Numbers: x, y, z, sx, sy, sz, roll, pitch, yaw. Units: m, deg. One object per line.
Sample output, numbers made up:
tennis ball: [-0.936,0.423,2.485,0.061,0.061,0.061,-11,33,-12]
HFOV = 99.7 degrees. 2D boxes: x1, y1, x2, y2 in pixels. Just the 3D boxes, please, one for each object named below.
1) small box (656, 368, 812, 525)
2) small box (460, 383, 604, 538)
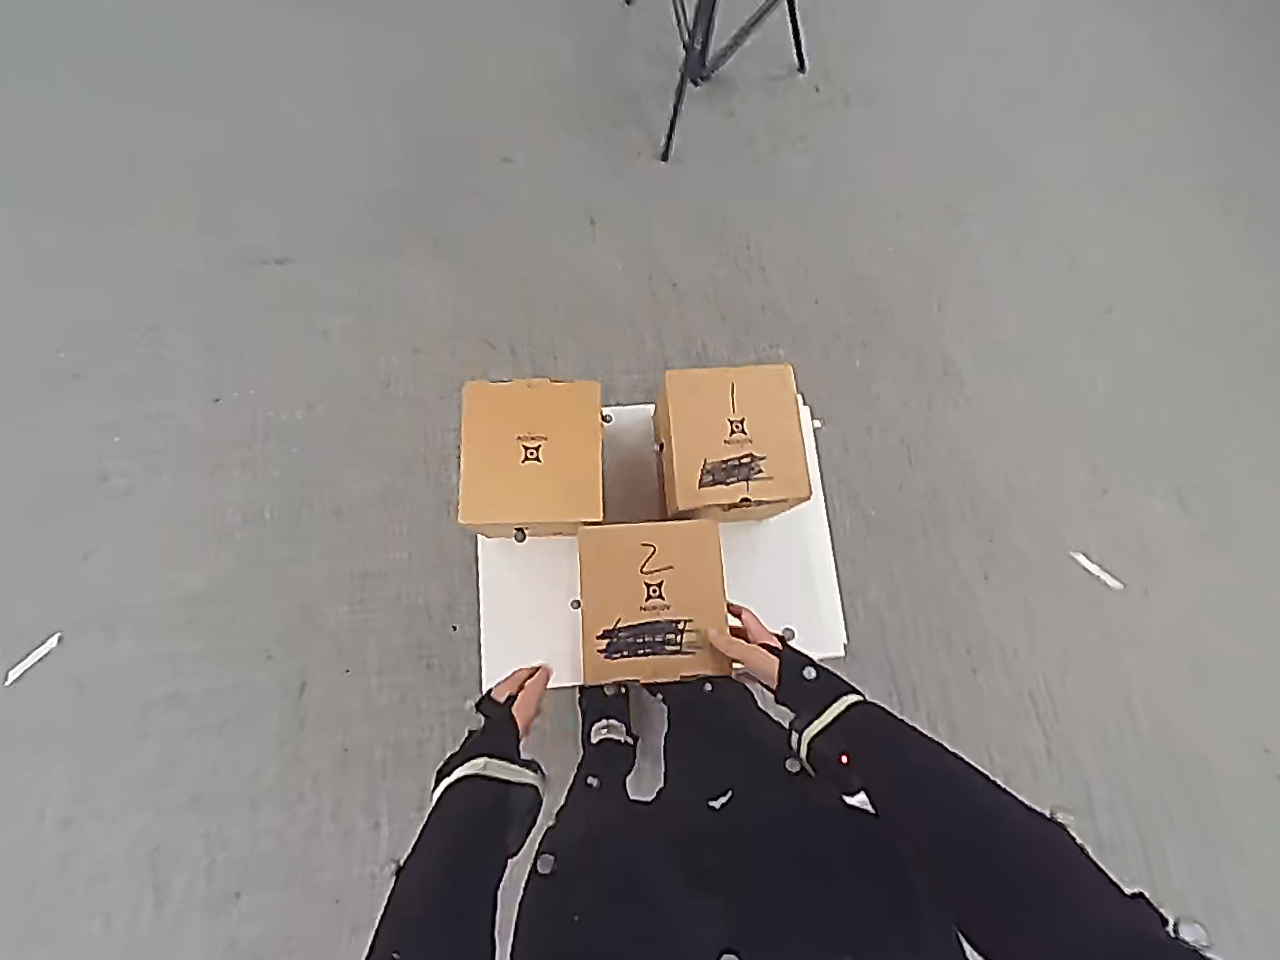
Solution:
small box: [0.115,-0.035,0.735,0.168,0.176,0.179,-4,77,-5]
small box: [-0.131,-0.016,0.714,0.168,0.176,0.179,-1,77,-5]
